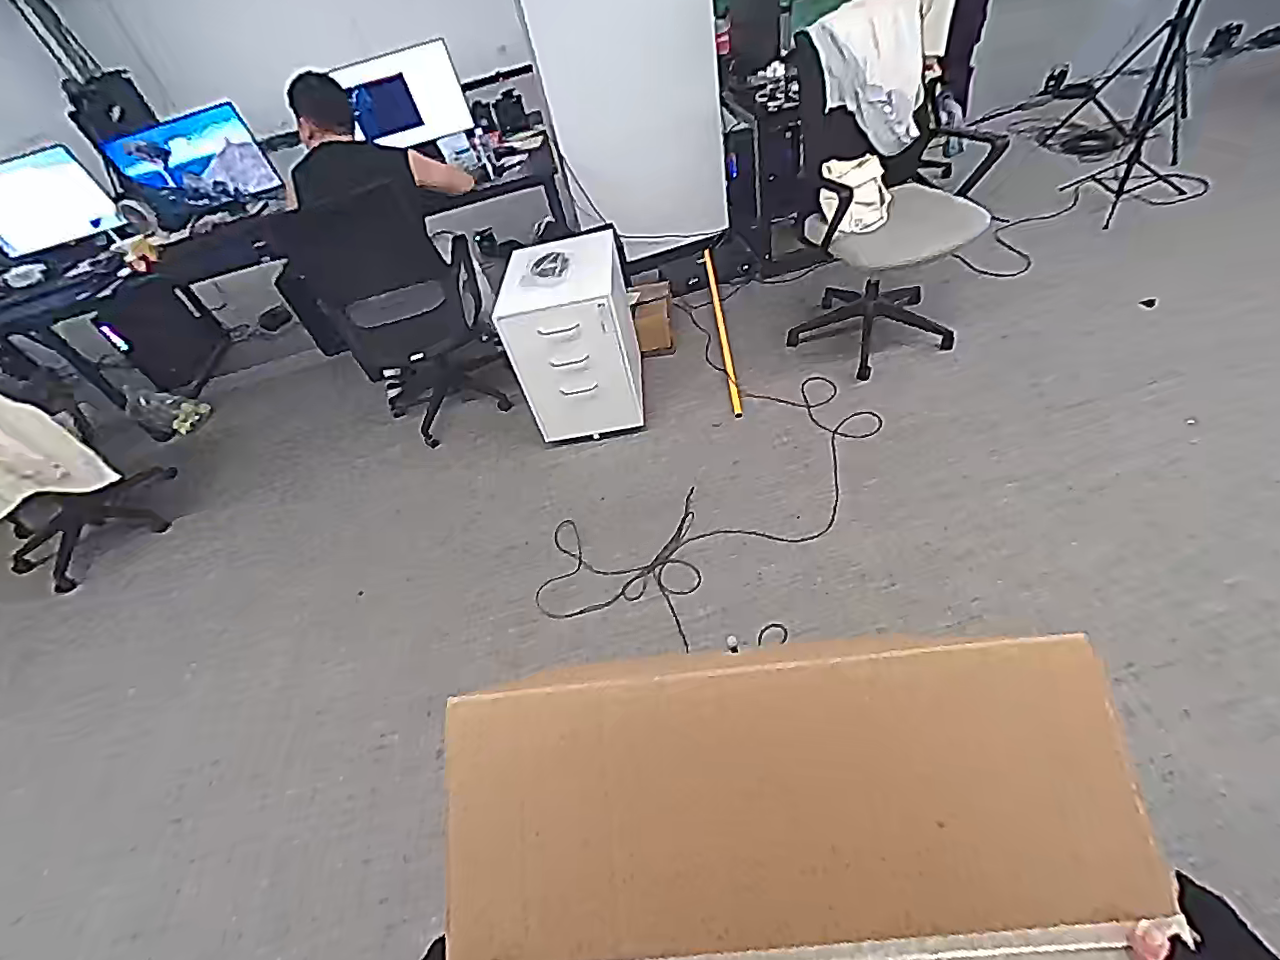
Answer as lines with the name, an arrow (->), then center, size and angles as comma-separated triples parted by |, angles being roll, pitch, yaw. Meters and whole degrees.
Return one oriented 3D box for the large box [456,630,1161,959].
large box -> 0.105, 0.313, 0.456 | 0.408, 0.320, 0.320 | -8, 74, 3
